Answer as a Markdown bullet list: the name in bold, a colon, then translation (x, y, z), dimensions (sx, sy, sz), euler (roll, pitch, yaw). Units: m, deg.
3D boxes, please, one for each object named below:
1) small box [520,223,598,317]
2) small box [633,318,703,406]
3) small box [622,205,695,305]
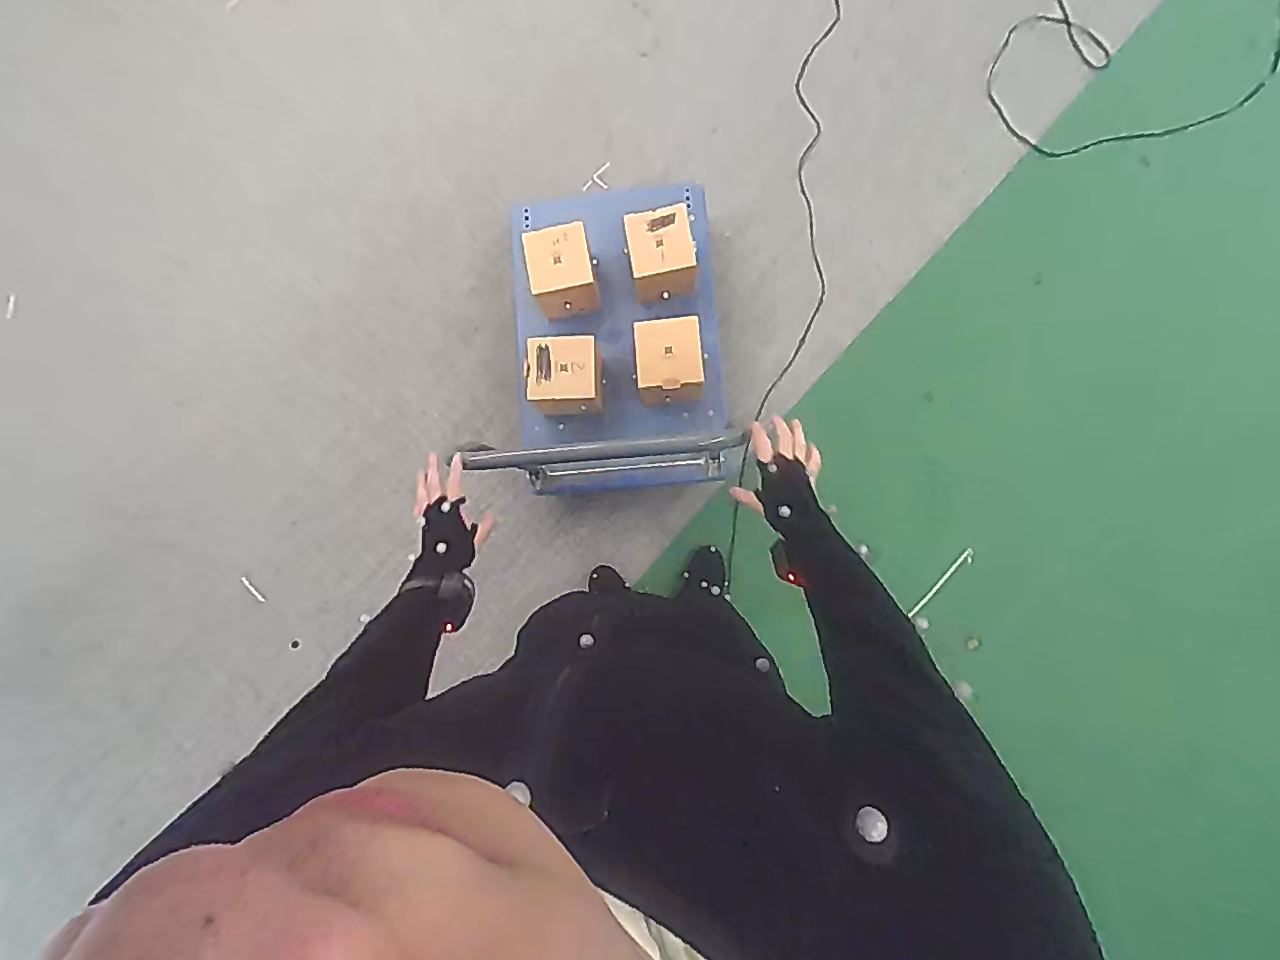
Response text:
- **small box**: translation (-0.214, -0.562, 1.475), dimensions (0.168, 0.176, 0.179), euler (-10, 83, 2)
- **small box**: translation (0.073, -0.307, 1.431), dimensions (0.168, 0.176, 0.179), euler (-5, 84, 3)
- **small box**: translation (0.051, -0.601, 1.461), dimensions (0.168, 0.176, 0.179), euler (-10, 84, 4)
